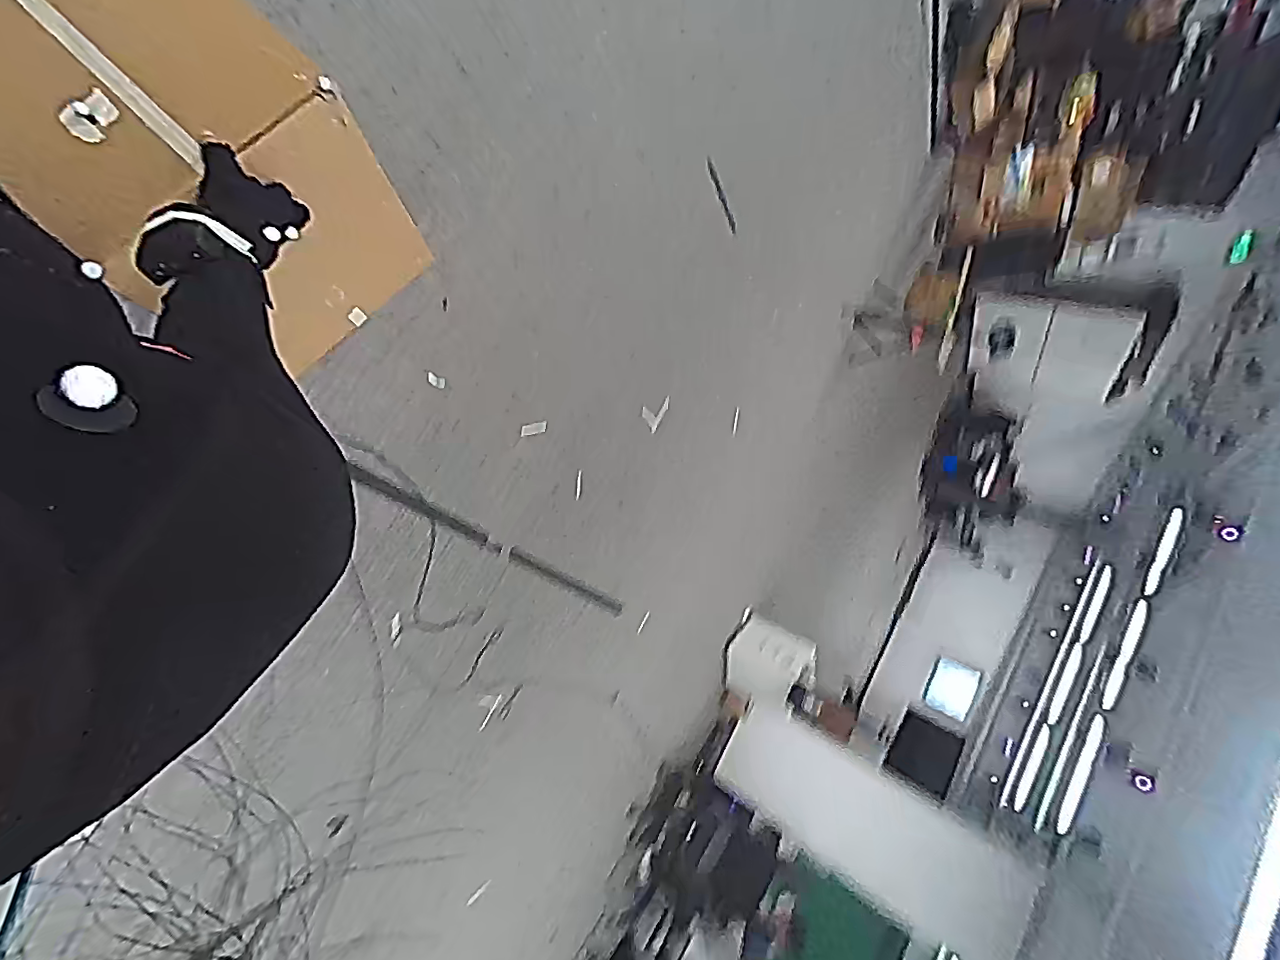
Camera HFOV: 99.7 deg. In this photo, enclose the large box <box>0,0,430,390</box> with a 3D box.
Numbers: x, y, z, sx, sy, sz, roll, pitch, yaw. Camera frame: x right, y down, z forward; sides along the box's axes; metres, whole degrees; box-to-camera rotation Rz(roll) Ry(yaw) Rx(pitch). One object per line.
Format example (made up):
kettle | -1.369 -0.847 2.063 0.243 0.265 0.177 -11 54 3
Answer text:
large box | -0.577 -0.400 0.730 0.320 0.408 0.320 -46 174 -8
